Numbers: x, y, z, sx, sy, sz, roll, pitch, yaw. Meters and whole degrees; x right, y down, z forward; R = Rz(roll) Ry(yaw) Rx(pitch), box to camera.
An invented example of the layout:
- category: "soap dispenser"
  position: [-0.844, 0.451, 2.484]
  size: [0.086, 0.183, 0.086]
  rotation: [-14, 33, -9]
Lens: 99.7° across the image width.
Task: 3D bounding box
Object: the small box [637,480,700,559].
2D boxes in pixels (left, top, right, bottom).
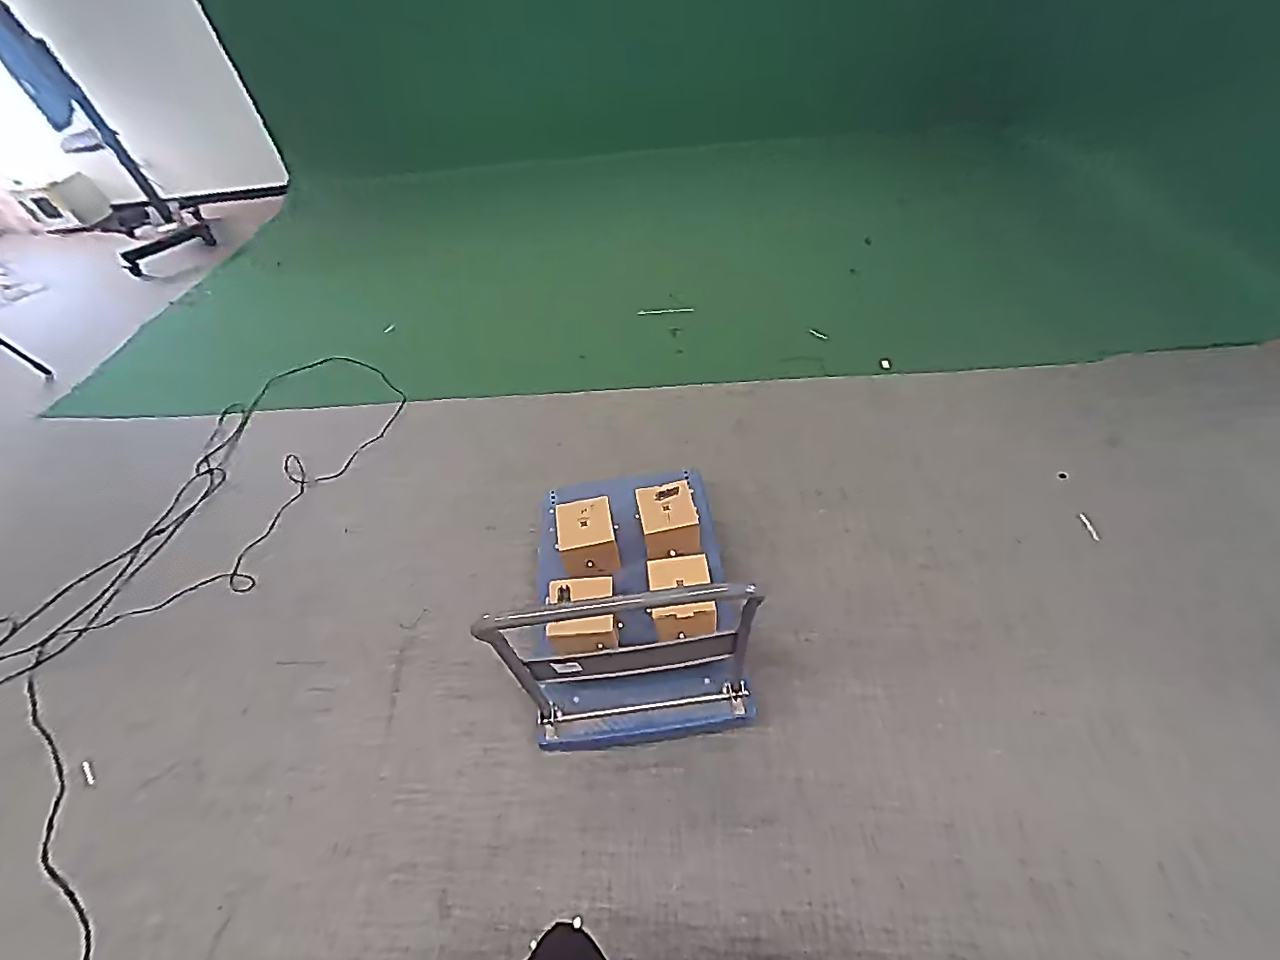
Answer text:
- category: "small box"
  position: [0.091, 0.130, 1.703]
  size: [0.168, 0.176, 0.179]
  rotation: [-11, 50, -1]

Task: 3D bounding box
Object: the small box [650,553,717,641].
- category: "small box"
  position: [0.119, 0.332, 1.525]
  size: [0.168, 0.176, 0.179]
  rotation: [-7, 49, 1]

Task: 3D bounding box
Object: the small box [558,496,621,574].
- category: "small box"
  position: [-0.156, 0.180, 1.694]
  size: [0.168, 0.176, 0.179]
  rotation: [-10, 49, -3]
